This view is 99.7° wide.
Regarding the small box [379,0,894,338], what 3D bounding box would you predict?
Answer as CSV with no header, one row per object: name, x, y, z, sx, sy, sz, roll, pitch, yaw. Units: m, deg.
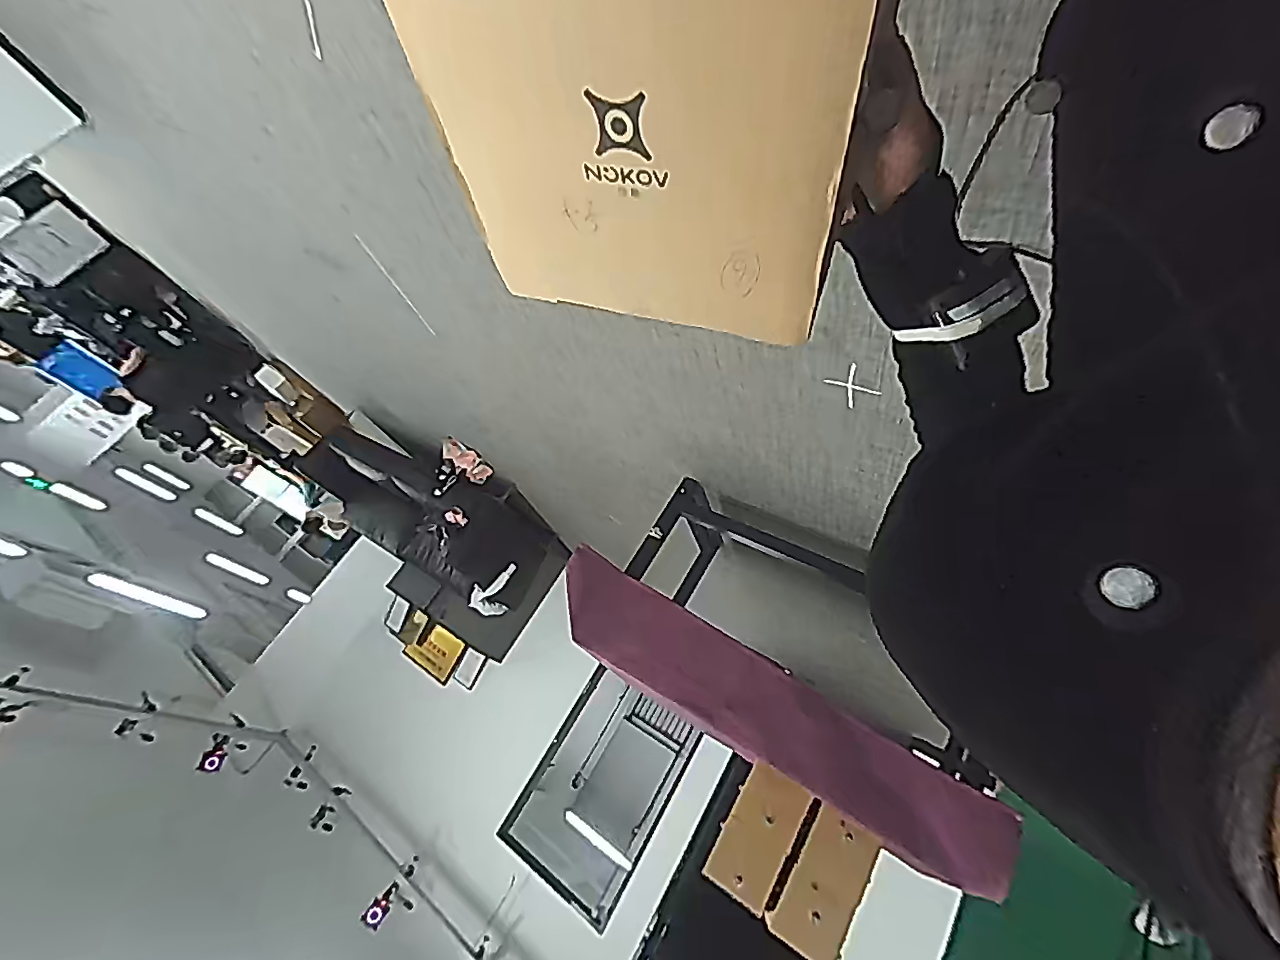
small box,0.018,-0.196,0.233,0.168,0.176,0.179,15,153,14
